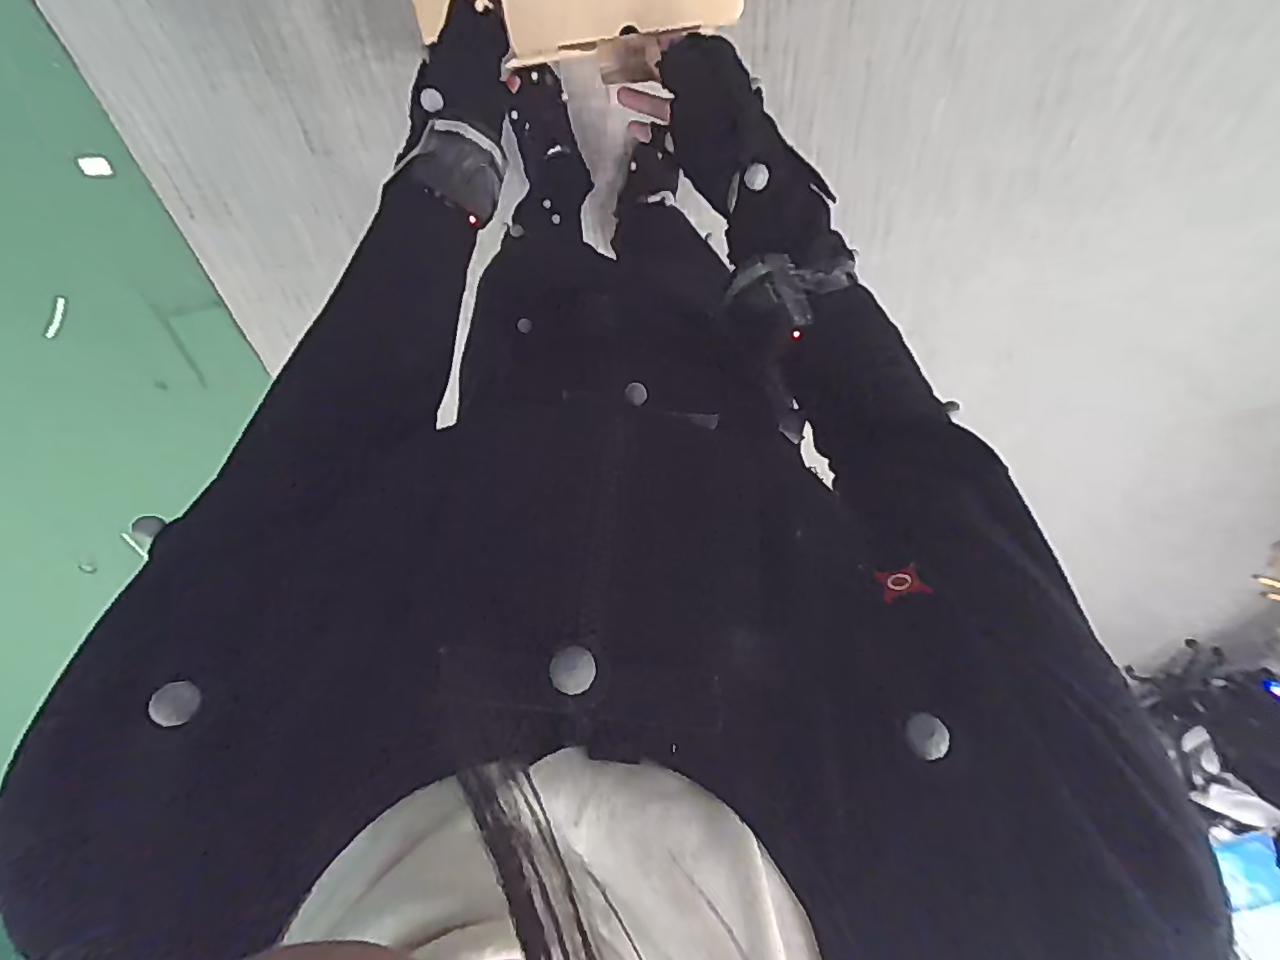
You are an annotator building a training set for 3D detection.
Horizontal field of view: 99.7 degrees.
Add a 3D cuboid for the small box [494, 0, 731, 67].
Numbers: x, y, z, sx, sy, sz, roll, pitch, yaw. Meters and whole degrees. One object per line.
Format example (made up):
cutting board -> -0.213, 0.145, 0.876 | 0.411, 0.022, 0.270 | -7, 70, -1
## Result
small box -> -0.034, -0.425, 0.375 | 0.168, 0.176, 0.179 | -11, 140, -2
